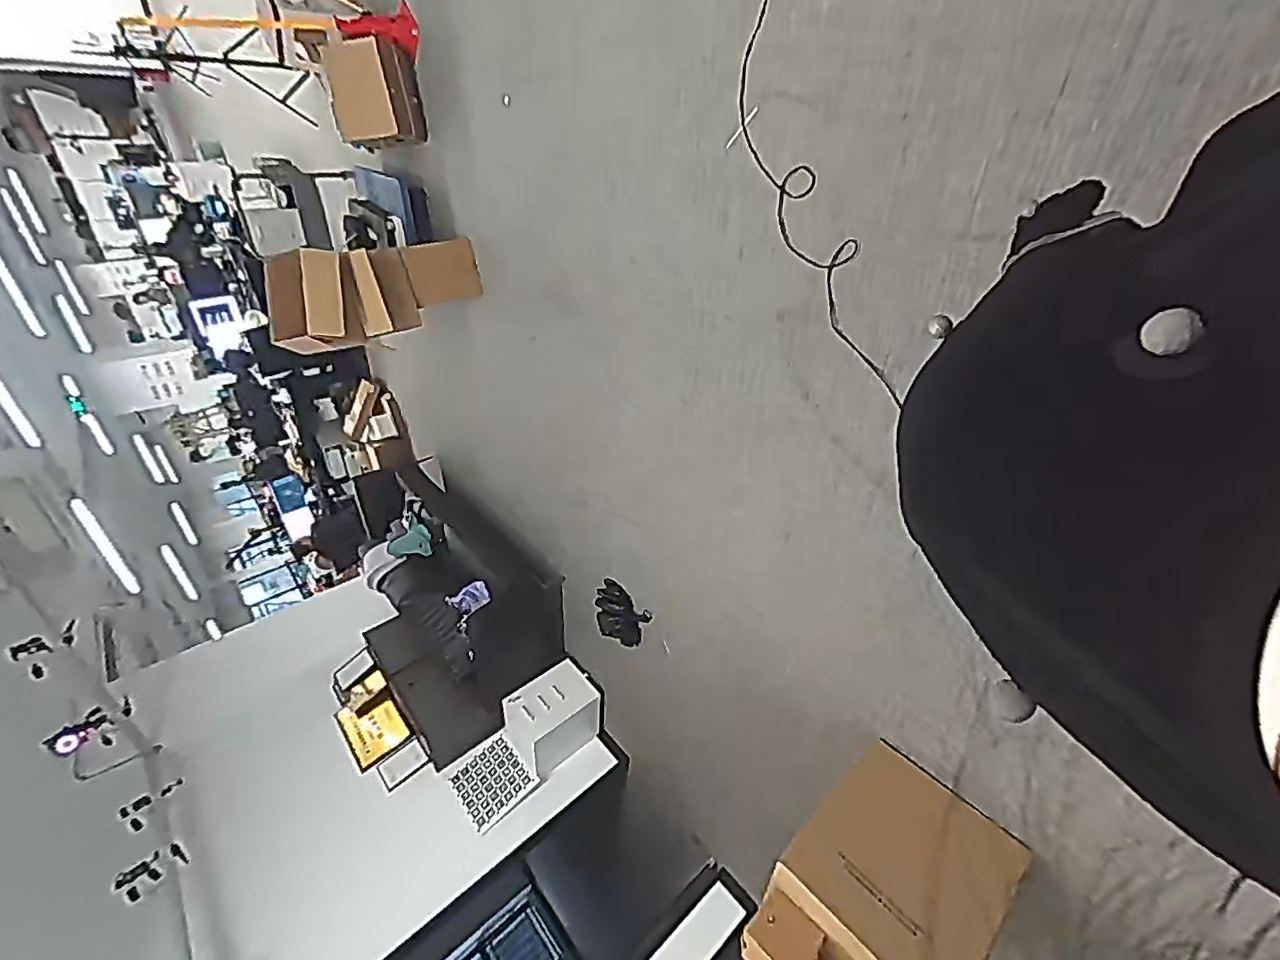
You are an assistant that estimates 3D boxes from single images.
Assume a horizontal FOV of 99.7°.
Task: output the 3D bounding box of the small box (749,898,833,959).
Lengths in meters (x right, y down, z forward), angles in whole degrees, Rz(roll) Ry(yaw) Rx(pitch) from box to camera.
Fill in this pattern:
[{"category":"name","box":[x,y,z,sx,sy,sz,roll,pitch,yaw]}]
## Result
[{"category":"small box","box":[0.451,1.412,1.624,0.179,0.176,0.168,23,126,43]}]
